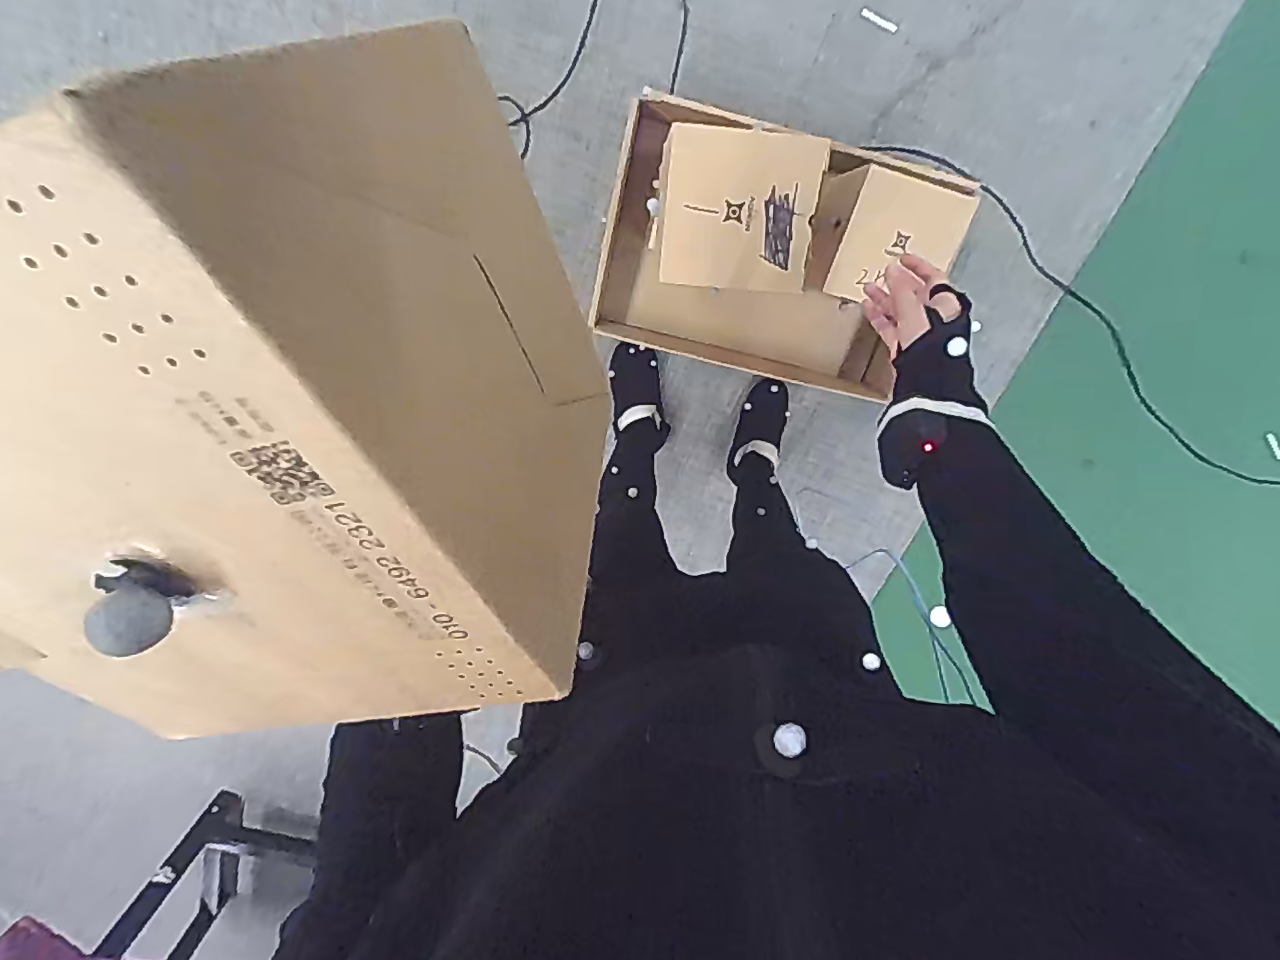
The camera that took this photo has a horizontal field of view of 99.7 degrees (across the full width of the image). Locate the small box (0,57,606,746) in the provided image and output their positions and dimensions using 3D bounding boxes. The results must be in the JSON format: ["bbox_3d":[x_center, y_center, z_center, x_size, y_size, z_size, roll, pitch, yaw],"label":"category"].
[{"bbox_3d":[-0.123,-0.024,0.202,0.176,0.179,0.168,-10,132,15],"label":"small box"}]

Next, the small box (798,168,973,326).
[{"bbox_3d":[0.365,-0.360,0.849,0.168,0.176,0.179,15,113,-5],"label":"small box"}]

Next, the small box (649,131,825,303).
[{"bbox_3d":[0.108,-0.328,0.688,0.179,0.176,0.168,4,114,-3],"label":"small box"}]
